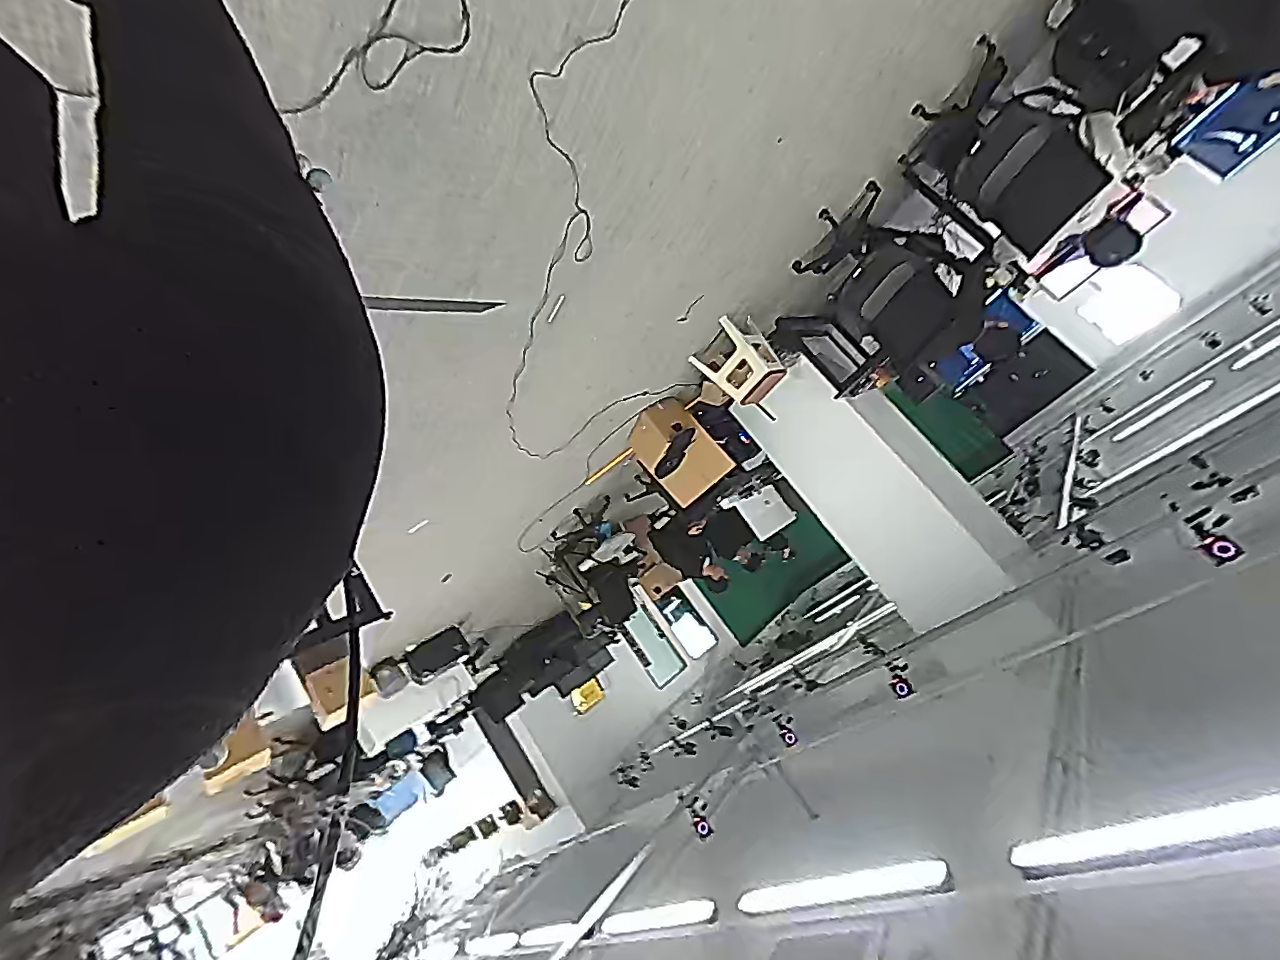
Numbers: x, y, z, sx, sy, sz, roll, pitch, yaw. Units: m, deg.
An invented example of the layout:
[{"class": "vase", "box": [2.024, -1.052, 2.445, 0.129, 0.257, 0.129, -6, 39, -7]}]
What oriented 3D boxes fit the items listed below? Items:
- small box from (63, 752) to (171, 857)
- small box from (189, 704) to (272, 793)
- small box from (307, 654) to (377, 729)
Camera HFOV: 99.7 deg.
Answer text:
[{"class": "small box", "box": [-1.448, 0.895, 1.503, 0.179, 0.176, 0.168, -21, 159, -49]}, {"class": "small box", "box": [-1.288, 0.839, 1.700, 0.168, 0.176, 0.179, -22, 158, -47]}, {"class": "small box", "box": [-1.070, 0.750, 1.936, 0.168, 0.176, 0.179, -21, 159, -44]}]
